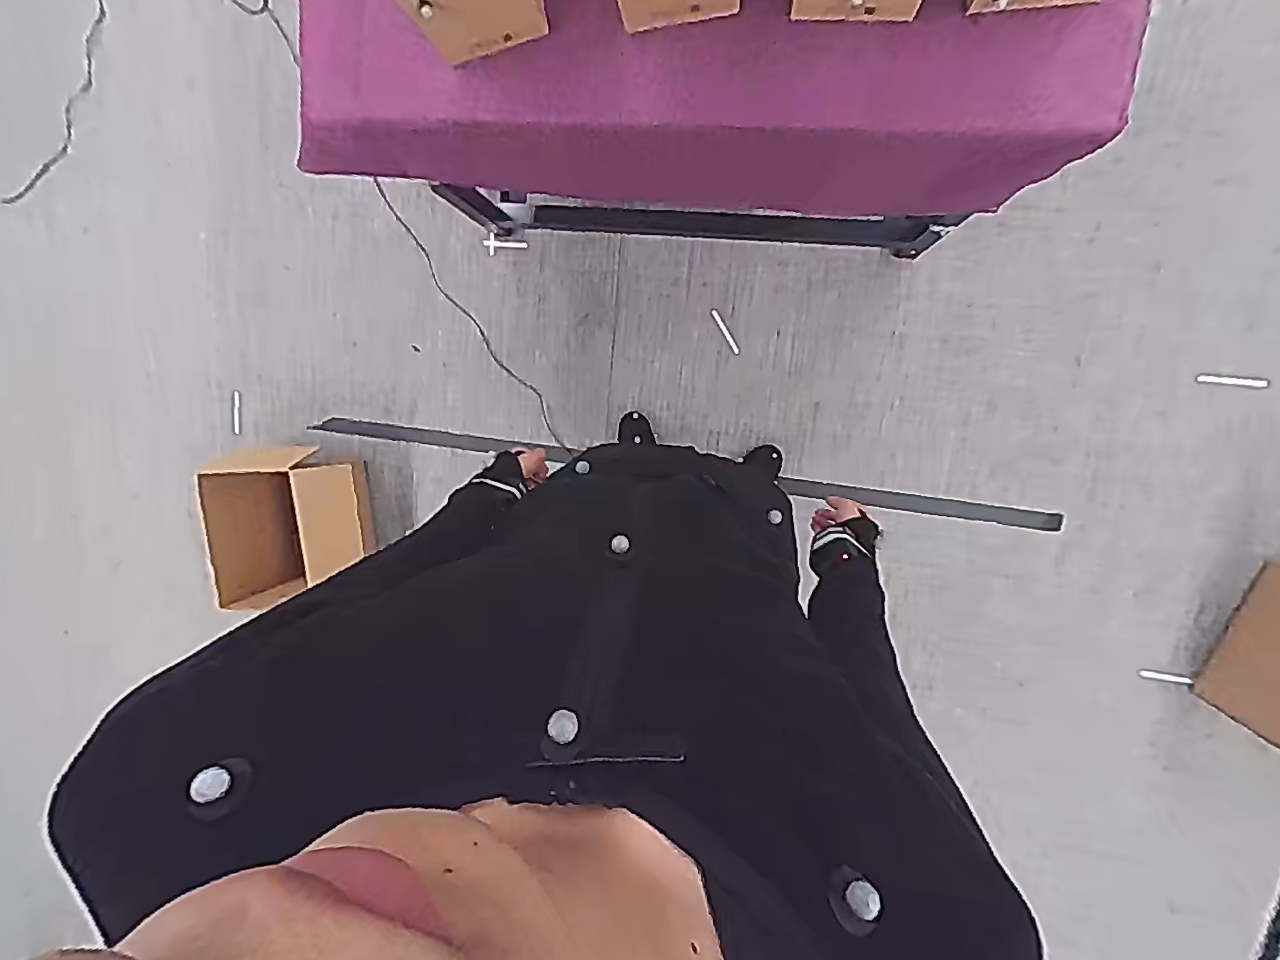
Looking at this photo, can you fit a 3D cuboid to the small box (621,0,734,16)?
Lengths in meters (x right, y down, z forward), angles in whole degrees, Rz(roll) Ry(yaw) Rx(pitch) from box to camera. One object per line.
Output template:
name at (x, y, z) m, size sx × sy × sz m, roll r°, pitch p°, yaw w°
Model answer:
small box at (0.042, -0.737, 0.686) m, size 0.168 × 0.176 × 0.179 m, roll -2°, pitch 98°, yaw 9°

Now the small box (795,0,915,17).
small box at (0.285, -0.713, 0.649) m, size 0.168 × 0.176 × 0.179 m, roll 8°, pitch 99°, yaw 8°
